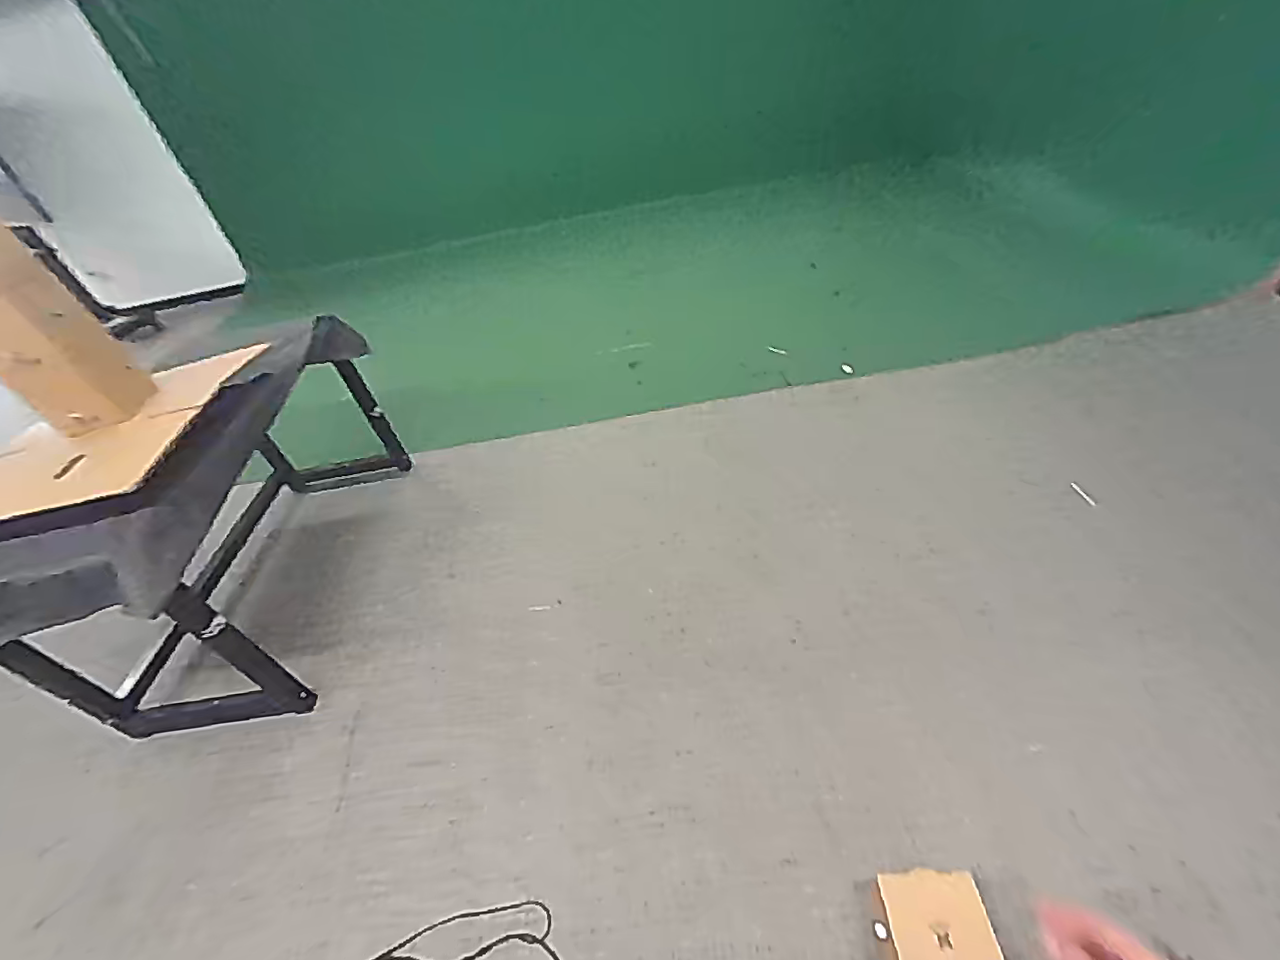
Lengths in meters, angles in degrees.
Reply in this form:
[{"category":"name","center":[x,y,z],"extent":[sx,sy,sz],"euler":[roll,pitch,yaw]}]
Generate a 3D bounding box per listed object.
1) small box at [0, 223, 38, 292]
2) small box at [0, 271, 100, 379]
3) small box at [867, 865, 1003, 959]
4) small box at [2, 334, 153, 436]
[{"category":"small box","center":[-1.485,-0.481,1.164],"extent":[0.168,0.176,0.179],"euler":[-19,40,-2]},{"category":"small box","center":[-1.443,-0.362,1.266],"extent":[0.168,0.176,0.179],"euler":[-19,40,-2]},{"category":"small box","center":[0.518,0.816,0.963],"extent":[0.168,0.176,0.179],"euler":[-7,41,6]},{"category":"small box","center":[-1.403,-0.241,1.370],"extent":[0.168,0.176,0.179],"euler":[-18,41,-1]}]
